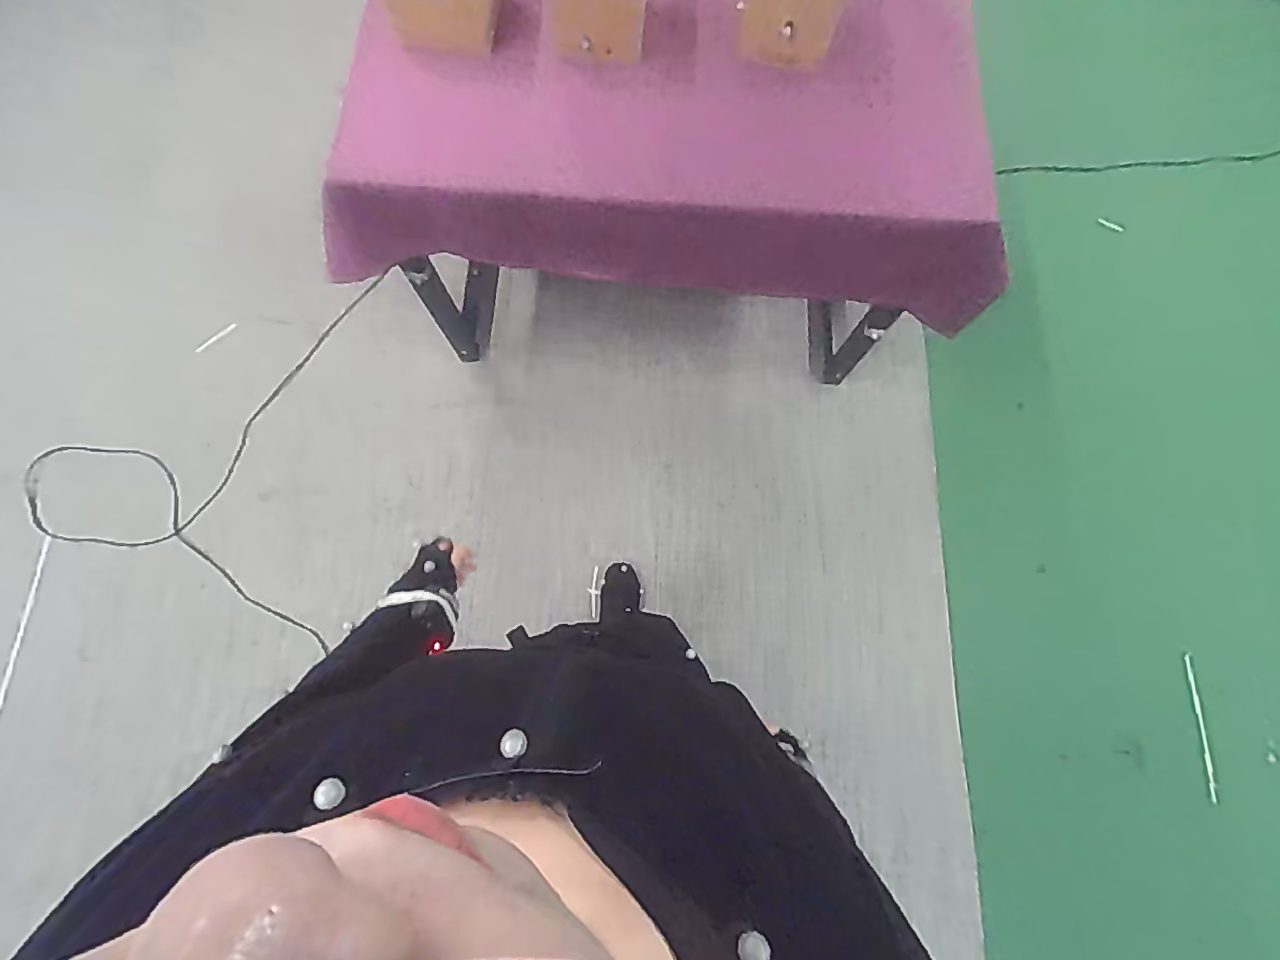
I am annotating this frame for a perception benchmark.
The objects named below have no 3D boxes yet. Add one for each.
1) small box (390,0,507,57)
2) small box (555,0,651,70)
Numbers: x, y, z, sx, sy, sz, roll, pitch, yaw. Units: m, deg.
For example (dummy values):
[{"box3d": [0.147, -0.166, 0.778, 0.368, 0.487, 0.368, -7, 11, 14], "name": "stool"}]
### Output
[{"box3d": [-0.352, -0.916, 0.983, 0.179, 0.176, 0.168, 5, 75, 0], "name": "small box"}, {"box3d": [-0.064, -0.902, 0.985, 0.168, 0.176, 0.179, 5, 76, 1], "name": "small box"}]
